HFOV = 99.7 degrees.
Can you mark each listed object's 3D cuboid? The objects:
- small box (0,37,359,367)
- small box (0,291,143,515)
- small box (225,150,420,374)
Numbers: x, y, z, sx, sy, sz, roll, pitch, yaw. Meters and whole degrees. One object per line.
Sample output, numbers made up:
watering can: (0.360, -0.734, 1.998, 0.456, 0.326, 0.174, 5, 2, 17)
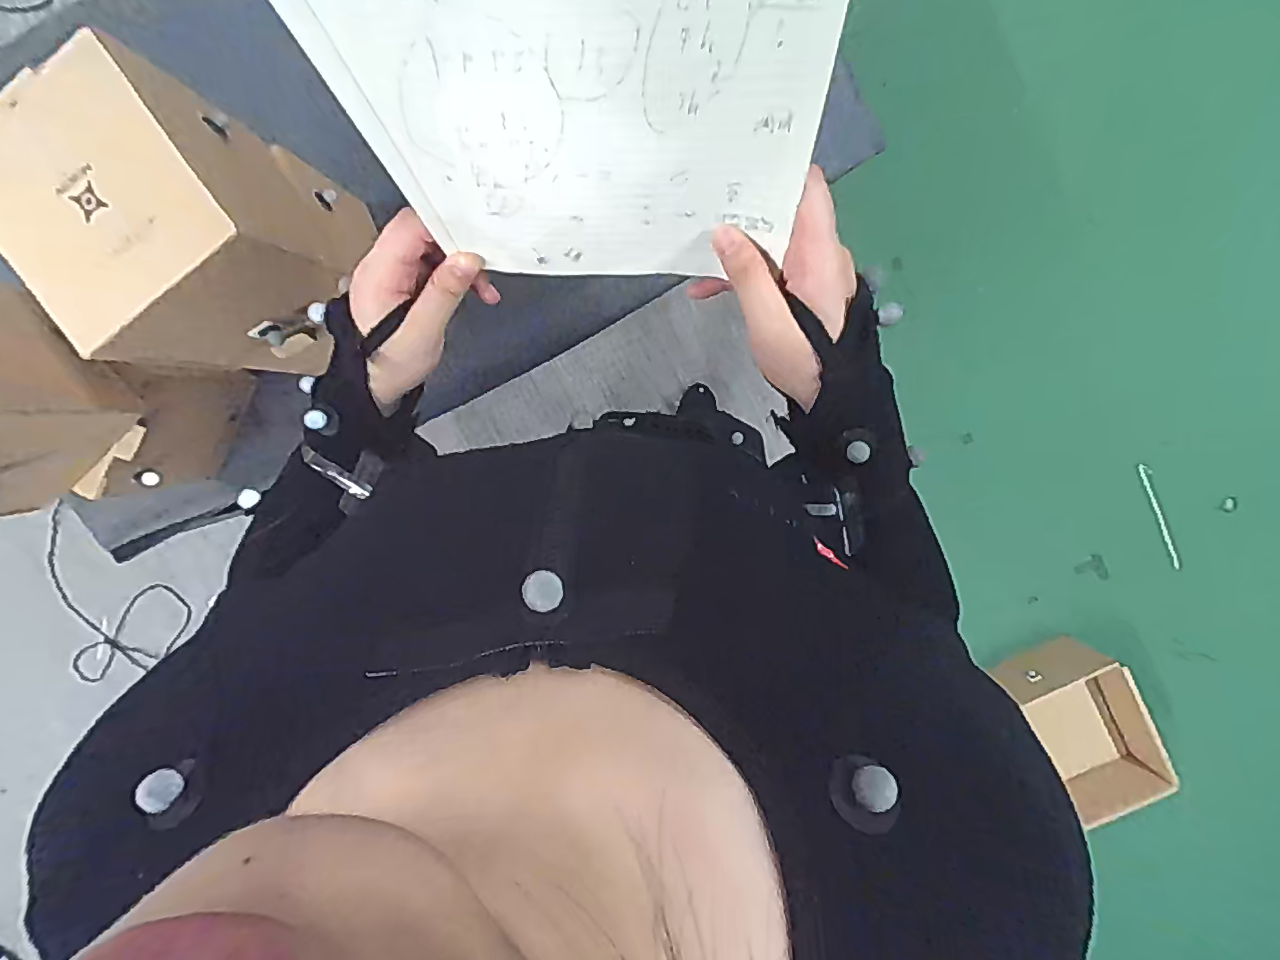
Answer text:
small box: (-0.404, -0.218, 0.486, 0.168, 0.176, 0.179, -34, 95, 8)
small box: (-0.650, -0.069, 0.516, 0.179, 0.176, 0.168, -41, 94, 8)
small box: (-0.401, -0.240, 0.647, 0.168, 0.176, 0.179, -23, 96, 6)
